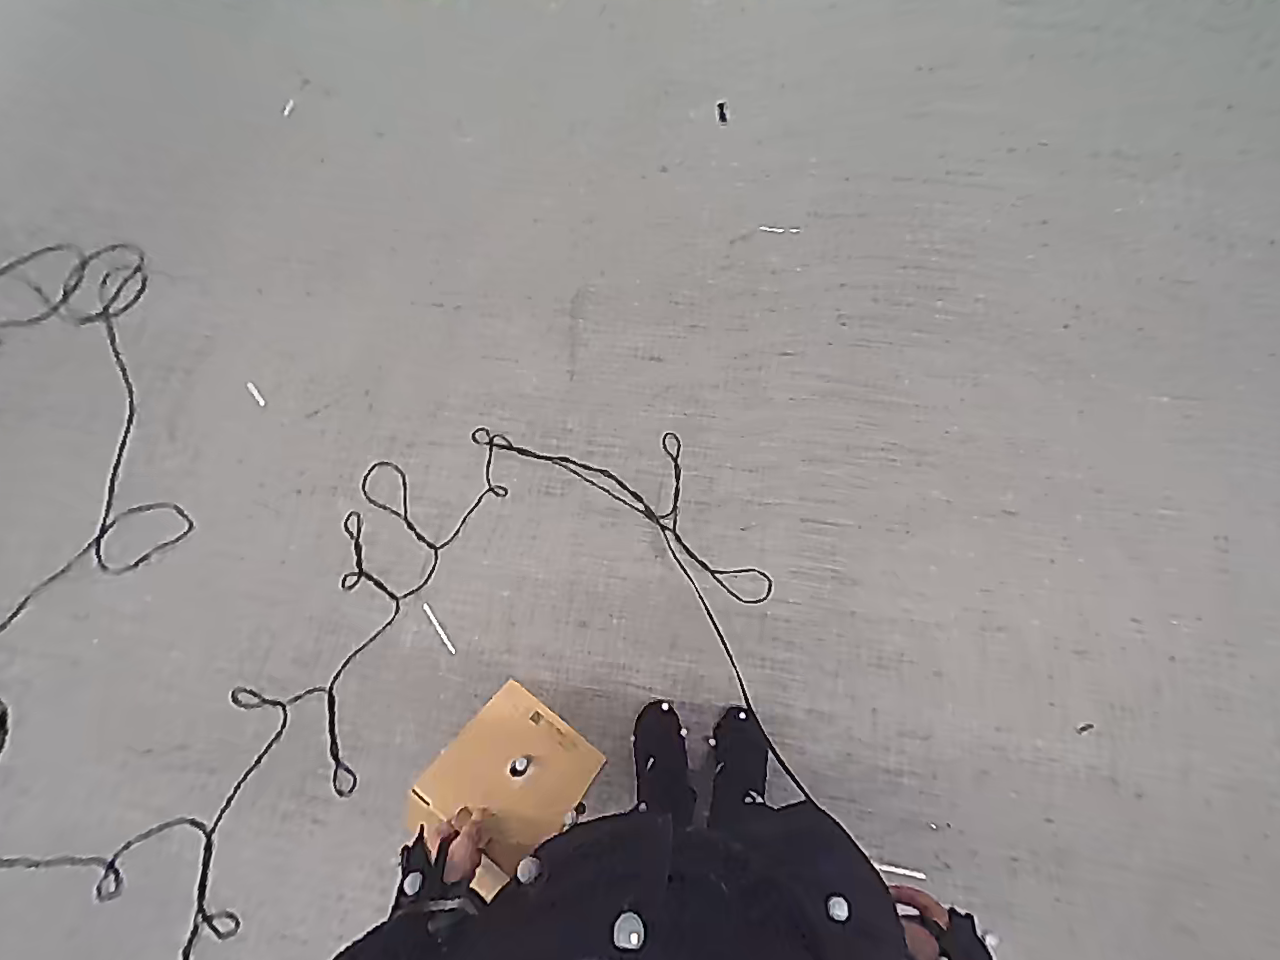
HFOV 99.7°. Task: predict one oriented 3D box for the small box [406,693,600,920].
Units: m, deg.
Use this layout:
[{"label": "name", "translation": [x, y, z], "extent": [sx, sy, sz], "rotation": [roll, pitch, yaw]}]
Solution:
[{"label": "small box", "translation": [-0.173, 0.413, 0.700], "extent": [0.168, 0.179, 0.176], "rotation": [34, 42, 11]}]
